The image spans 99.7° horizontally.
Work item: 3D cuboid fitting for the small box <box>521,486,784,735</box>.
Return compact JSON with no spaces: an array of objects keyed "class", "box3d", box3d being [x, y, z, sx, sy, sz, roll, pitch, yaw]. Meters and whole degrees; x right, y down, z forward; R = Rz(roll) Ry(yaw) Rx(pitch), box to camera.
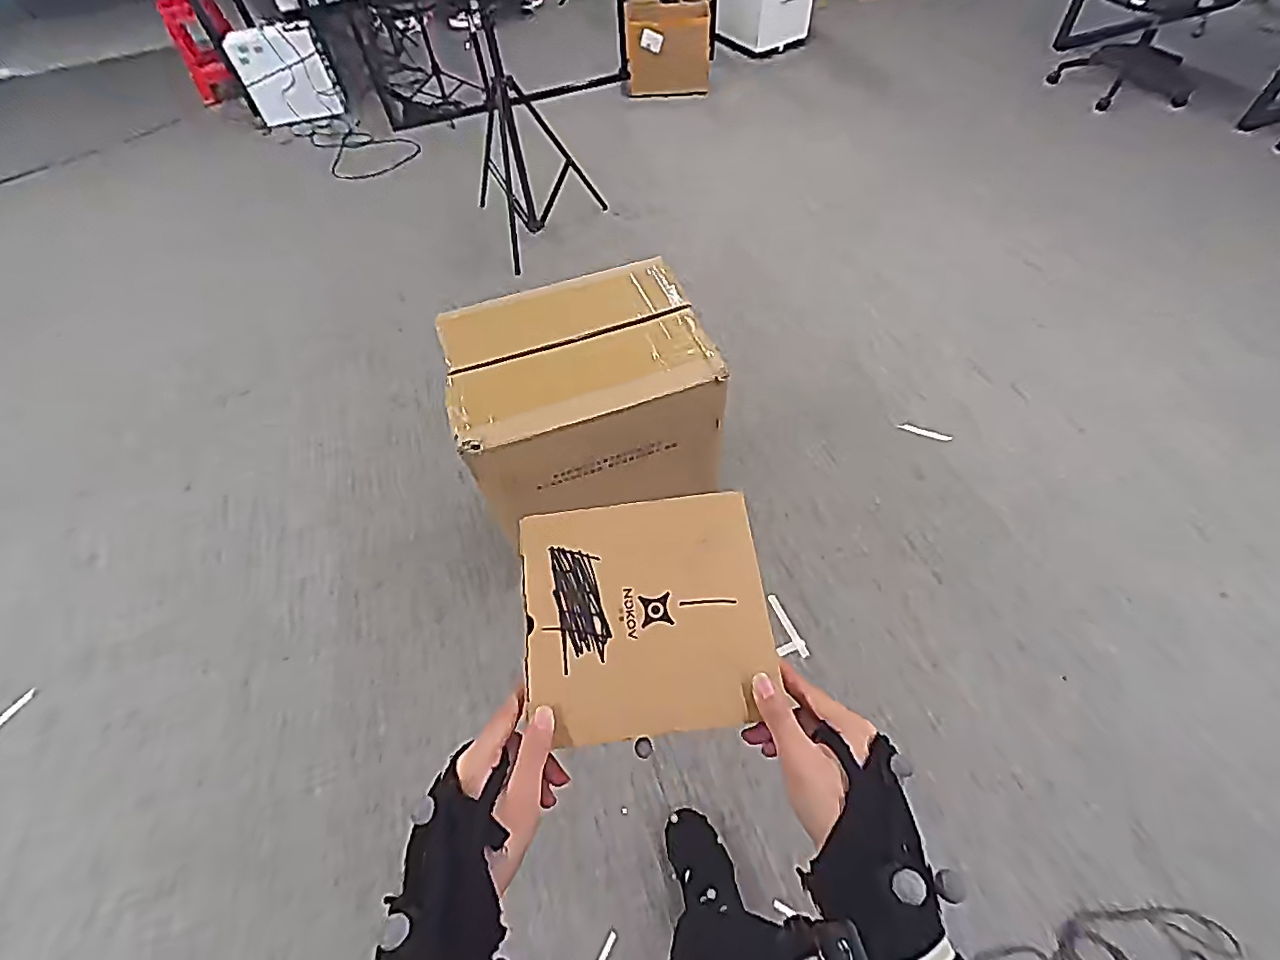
[{"class":"small box","box3d":[0.006,0.120,0.461,0.179,0.176,0.168,-7,66,-1]}]
